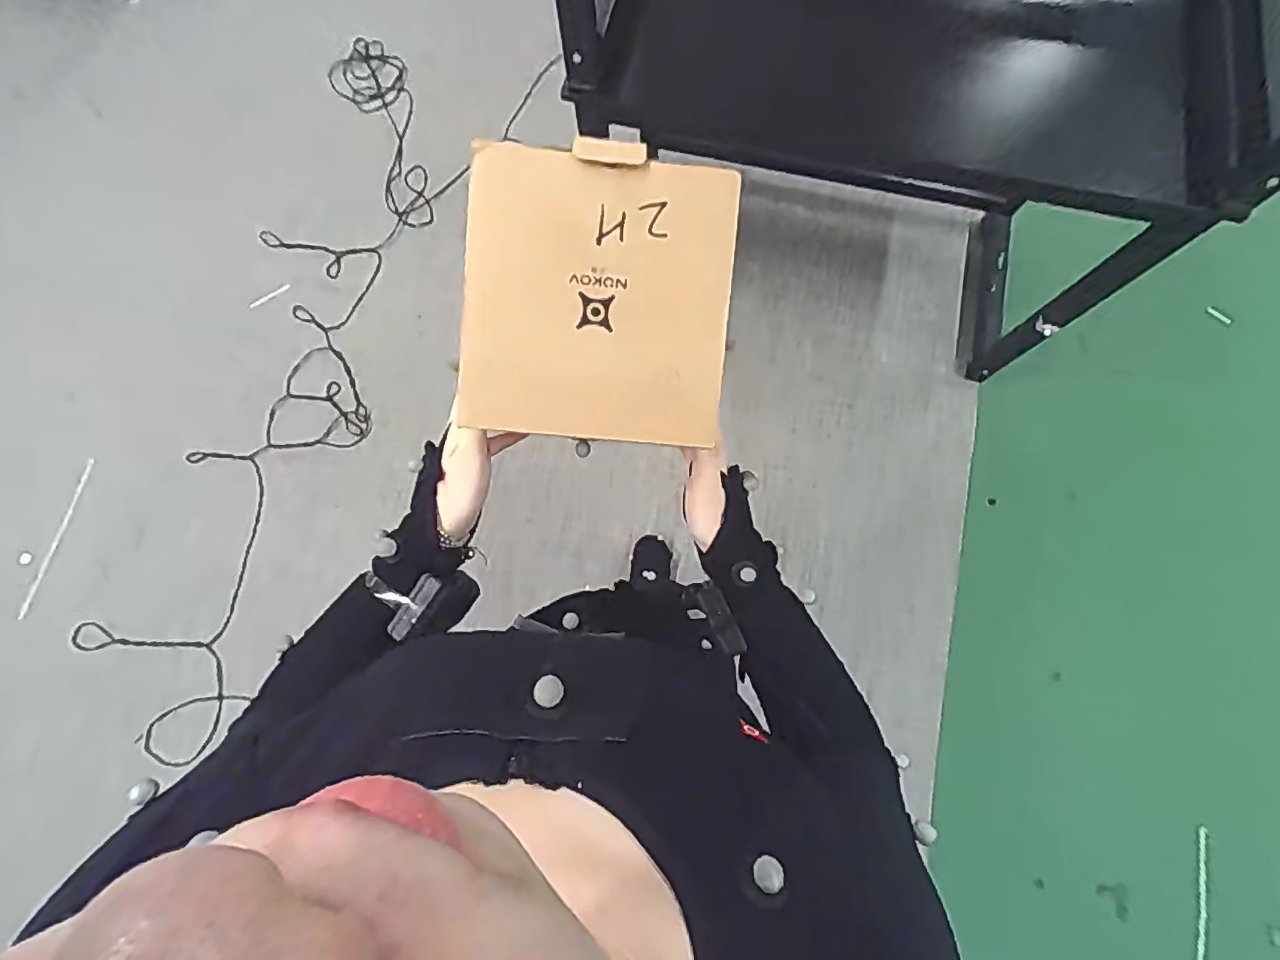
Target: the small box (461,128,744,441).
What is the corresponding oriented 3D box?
[{"bbox_3d":[-0.029,-0.126,0.415,0.168,0.176,0.179,5,95,-5],"label":"small box"}]
